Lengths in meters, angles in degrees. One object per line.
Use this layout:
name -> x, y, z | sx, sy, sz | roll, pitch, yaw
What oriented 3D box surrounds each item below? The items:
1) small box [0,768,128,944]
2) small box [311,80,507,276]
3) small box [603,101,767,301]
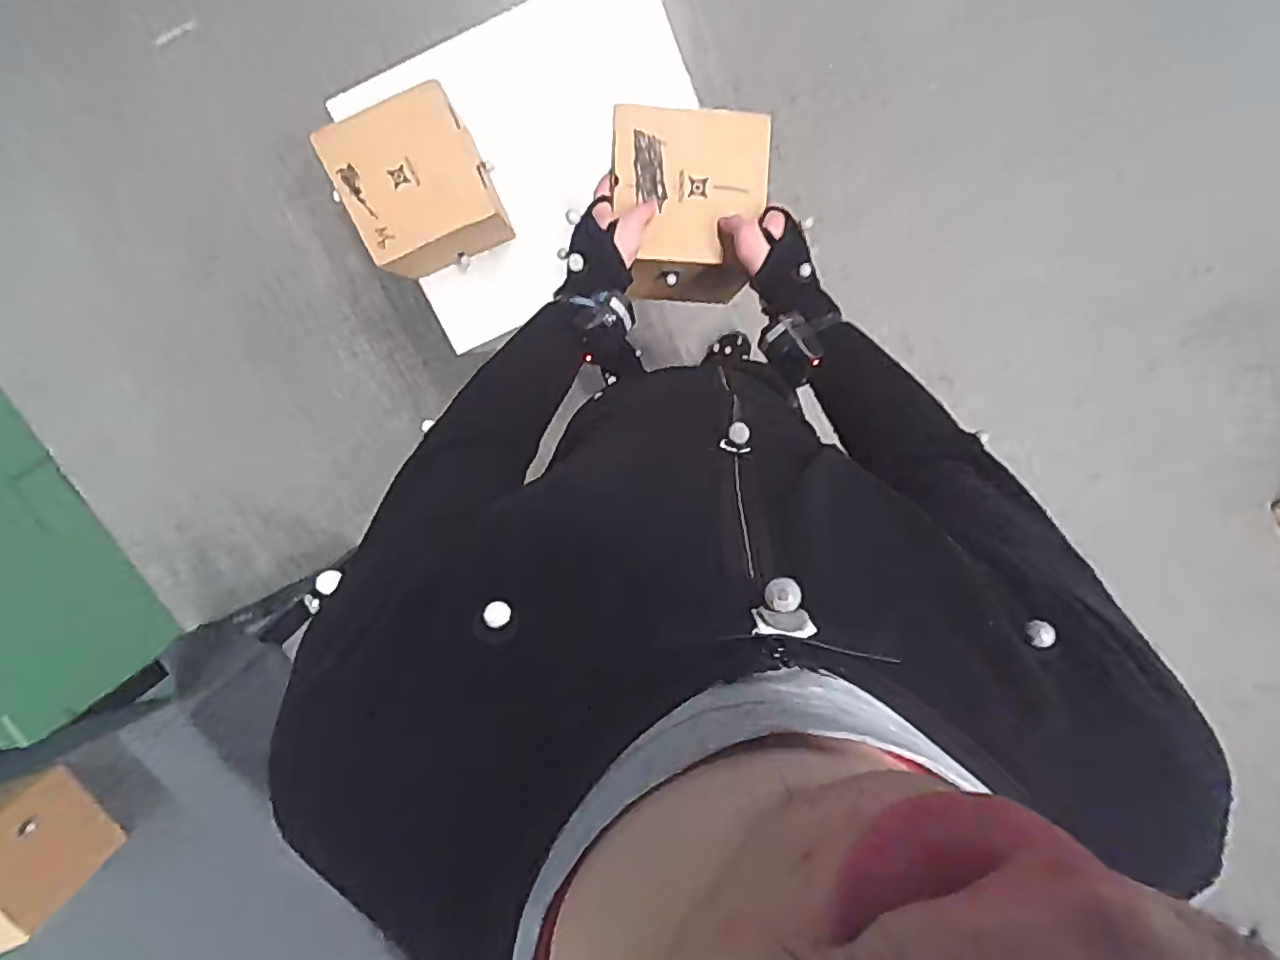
small box -> -0.987, 0.587, 0.846 | 0.168, 0.176, 0.179 | -23, 107, 4
small box -> -0.299, -0.401, 0.751 | 0.179, 0.176, 0.168 | -23, 105, 1
small box -> 0.044, -0.327, 0.667 | 0.179, 0.176, 0.168 | 2, 94, -5
